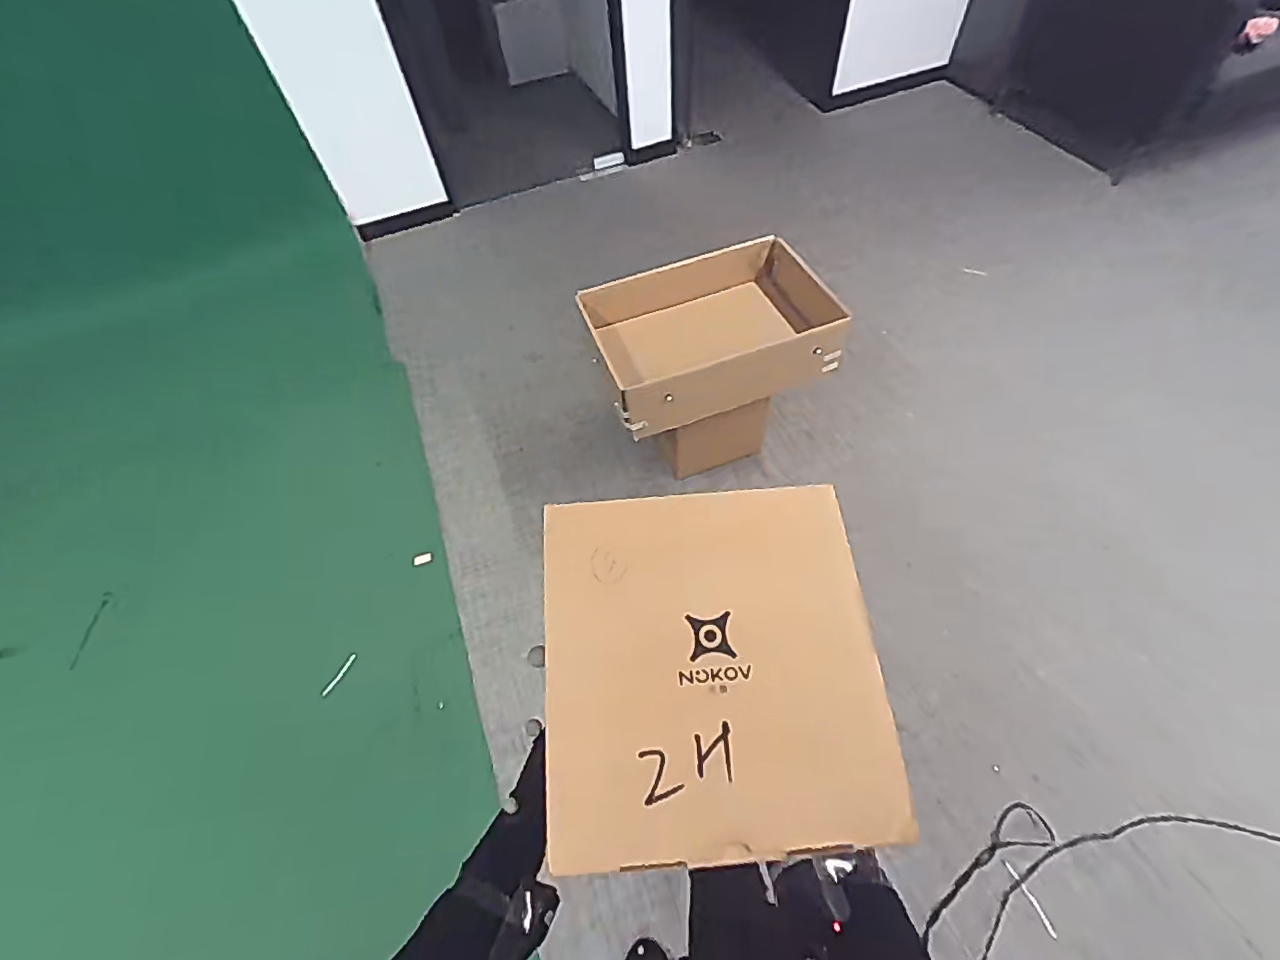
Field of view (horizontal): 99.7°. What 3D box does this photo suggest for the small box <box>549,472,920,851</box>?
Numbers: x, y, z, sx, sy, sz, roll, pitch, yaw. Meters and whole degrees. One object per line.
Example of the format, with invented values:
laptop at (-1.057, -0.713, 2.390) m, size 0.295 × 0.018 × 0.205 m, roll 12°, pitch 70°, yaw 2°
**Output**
small box at (0.037, 0.111, 0.342) m, size 0.168 × 0.176 × 0.179 m, roll -4°, pitch 66°, yaw -1°
